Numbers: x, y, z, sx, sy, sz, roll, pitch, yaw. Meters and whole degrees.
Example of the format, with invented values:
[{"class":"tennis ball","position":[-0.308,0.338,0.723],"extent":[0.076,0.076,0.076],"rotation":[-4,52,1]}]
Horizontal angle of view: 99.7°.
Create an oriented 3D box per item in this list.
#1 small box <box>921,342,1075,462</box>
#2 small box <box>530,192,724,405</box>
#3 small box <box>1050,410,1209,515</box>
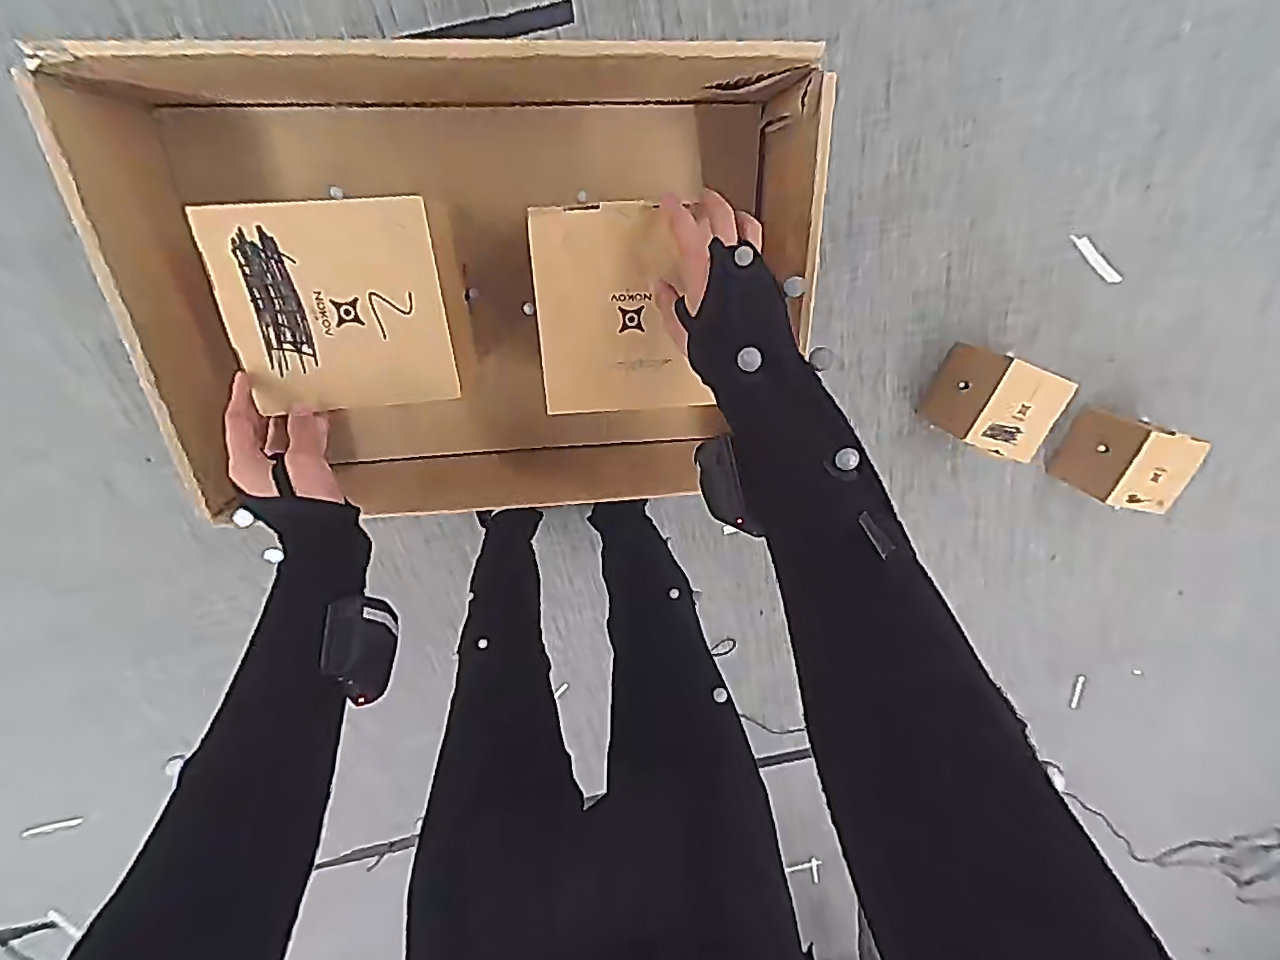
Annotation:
[{"class":"small box","position":[0.722,-0.165,1.117],"extent":[0.168,0.176,0.179],"rotation":[16,111,-14]},{"class":"small box","position":[-0.016,-0.185,0.550],"extent":[0.168,0.176,0.179],"rotation":[-4,114,-4]},{"class":"small box","position":[1.086,-0.046,1.219],"extent":[0.168,0.176,0.179],"rotation":[10,112,-11]}]
